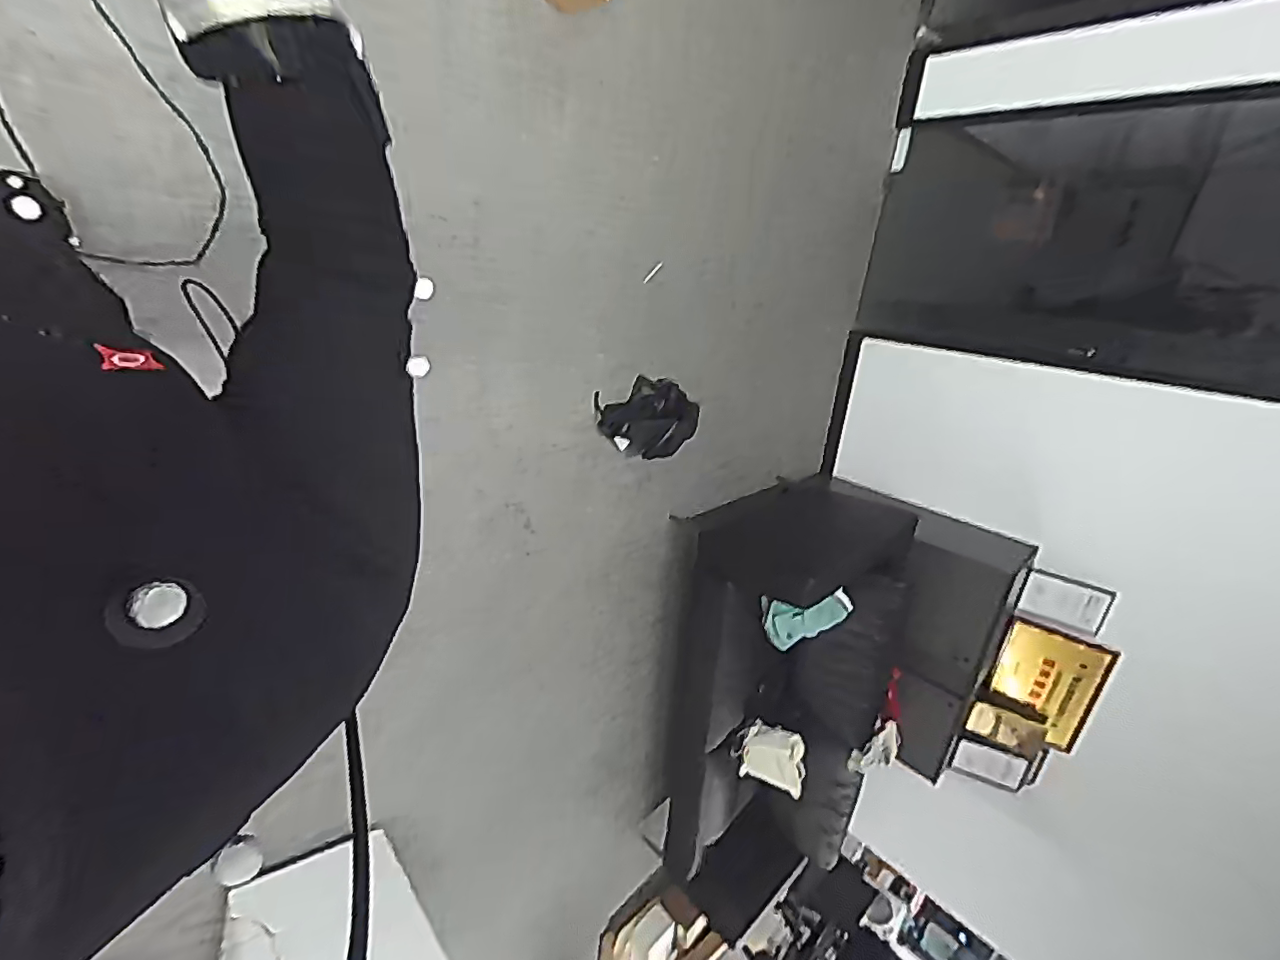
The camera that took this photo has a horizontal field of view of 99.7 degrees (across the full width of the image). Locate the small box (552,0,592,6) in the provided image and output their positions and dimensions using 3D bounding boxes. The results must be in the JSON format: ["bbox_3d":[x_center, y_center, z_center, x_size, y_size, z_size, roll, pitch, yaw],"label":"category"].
[{"bbox_3d":[-0.168,-1.196,1.193,0.179,0.176,0.168,-3,112,-45],"label":"small box"}]
